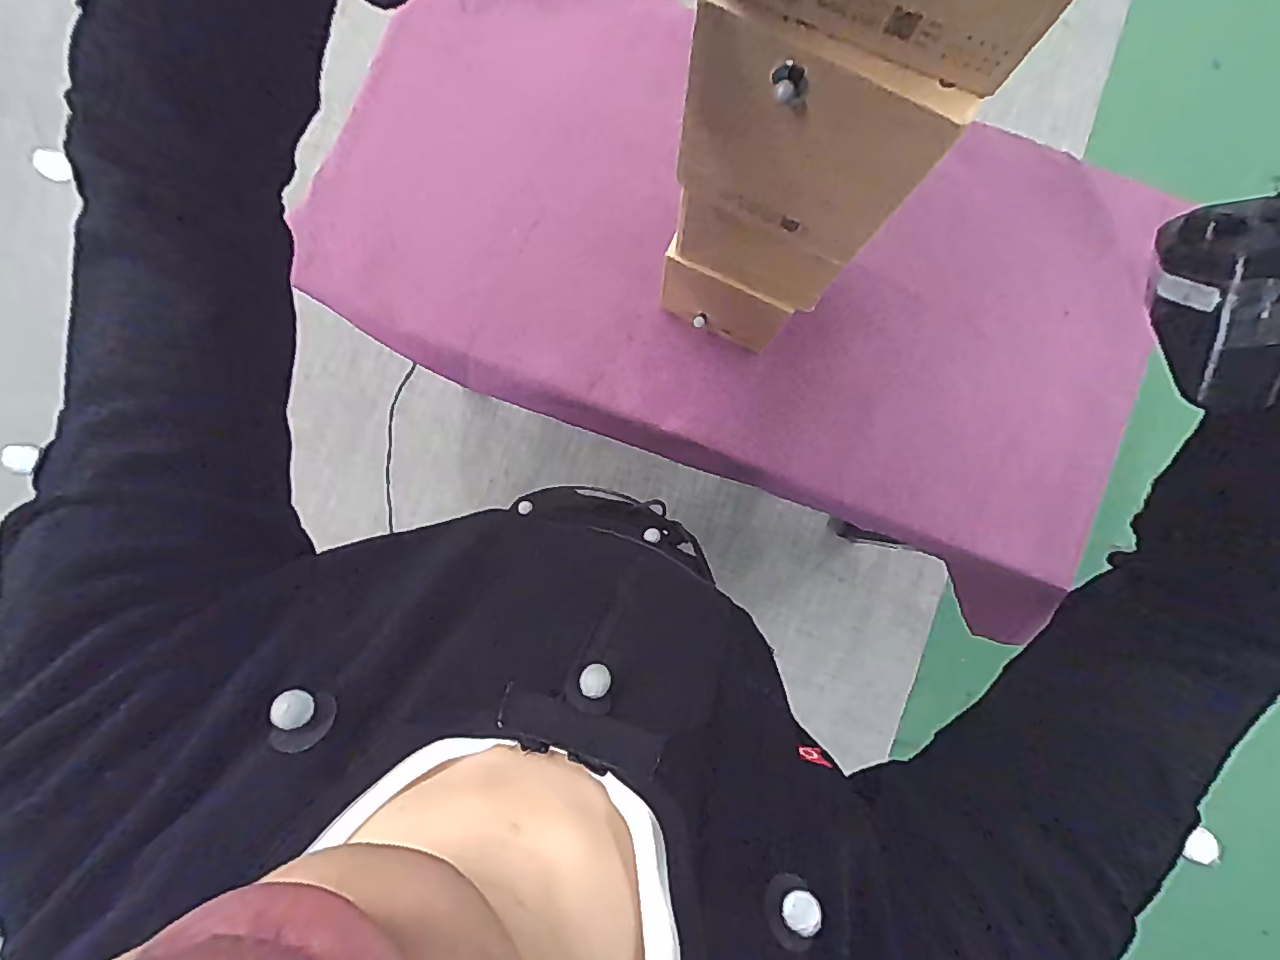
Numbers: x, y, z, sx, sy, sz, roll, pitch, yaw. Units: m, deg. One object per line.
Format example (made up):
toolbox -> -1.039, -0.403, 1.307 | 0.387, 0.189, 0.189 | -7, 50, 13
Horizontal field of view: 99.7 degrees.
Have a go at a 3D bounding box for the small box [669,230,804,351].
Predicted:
small box -> 0.144, -0.297, 0.702 | 0.168, 0.176, 0.179 | 26, 88, 1

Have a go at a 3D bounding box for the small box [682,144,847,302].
small box -> 0.152, -0.305, 0.541 | 0.179, 0.176, 0.168 | 24, 87, 1

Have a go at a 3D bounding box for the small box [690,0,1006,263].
small box -> 0.145, -0.293, 0.376 | 0.168, 0.176, 0.179 | 27, 86, 1
